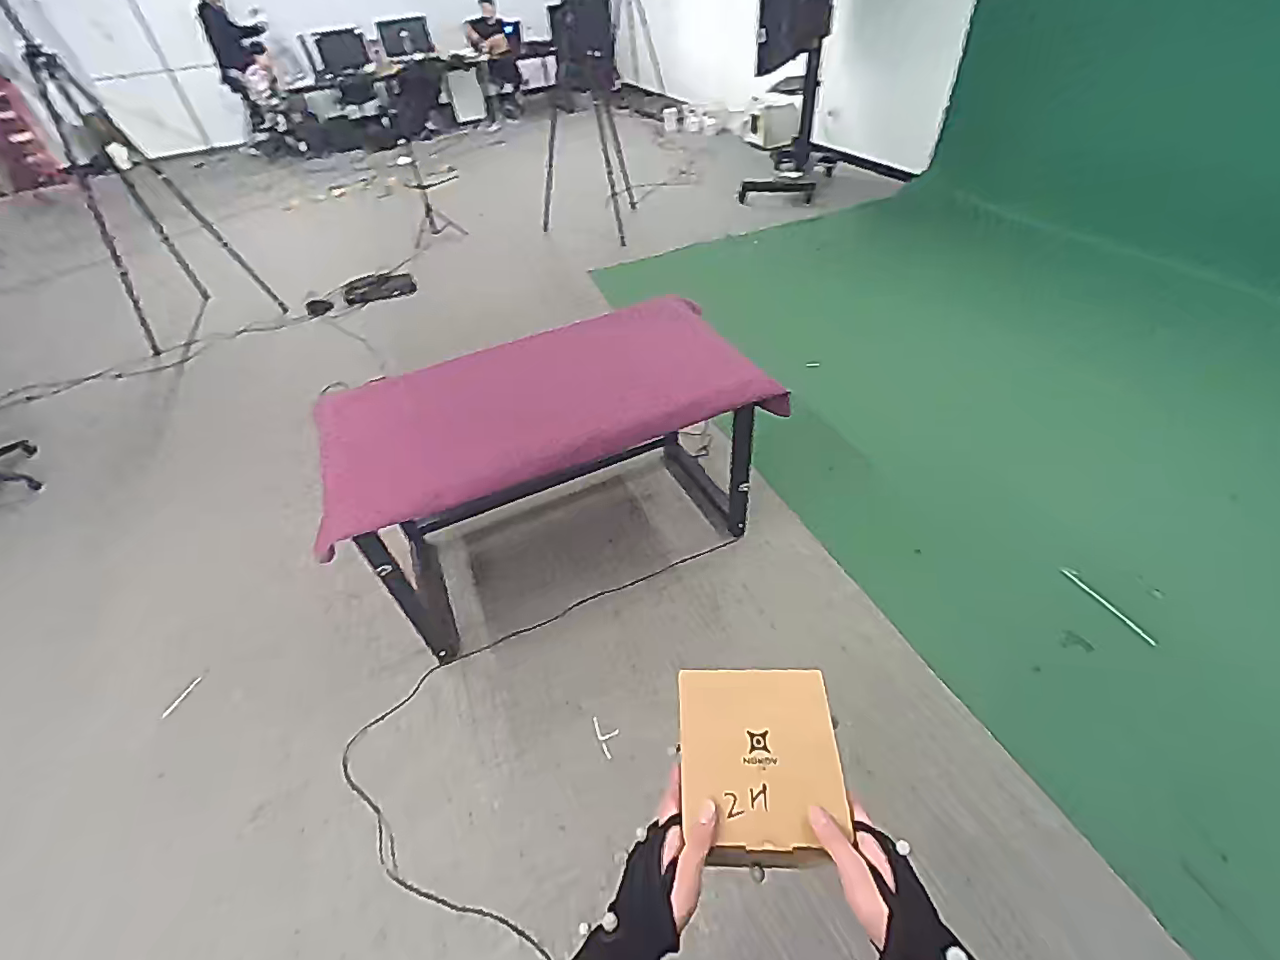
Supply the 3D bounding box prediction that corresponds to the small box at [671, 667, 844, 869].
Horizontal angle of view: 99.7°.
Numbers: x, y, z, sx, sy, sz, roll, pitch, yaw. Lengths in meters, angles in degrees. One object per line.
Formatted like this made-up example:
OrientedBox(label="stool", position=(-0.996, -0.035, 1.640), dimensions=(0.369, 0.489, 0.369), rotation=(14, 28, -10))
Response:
OrientedBox(label="small box", position=(0.119, 0.335, 0.630), dimensions=(0.168, 0.176, 0.179), rotation=(-2, 50, 4))
